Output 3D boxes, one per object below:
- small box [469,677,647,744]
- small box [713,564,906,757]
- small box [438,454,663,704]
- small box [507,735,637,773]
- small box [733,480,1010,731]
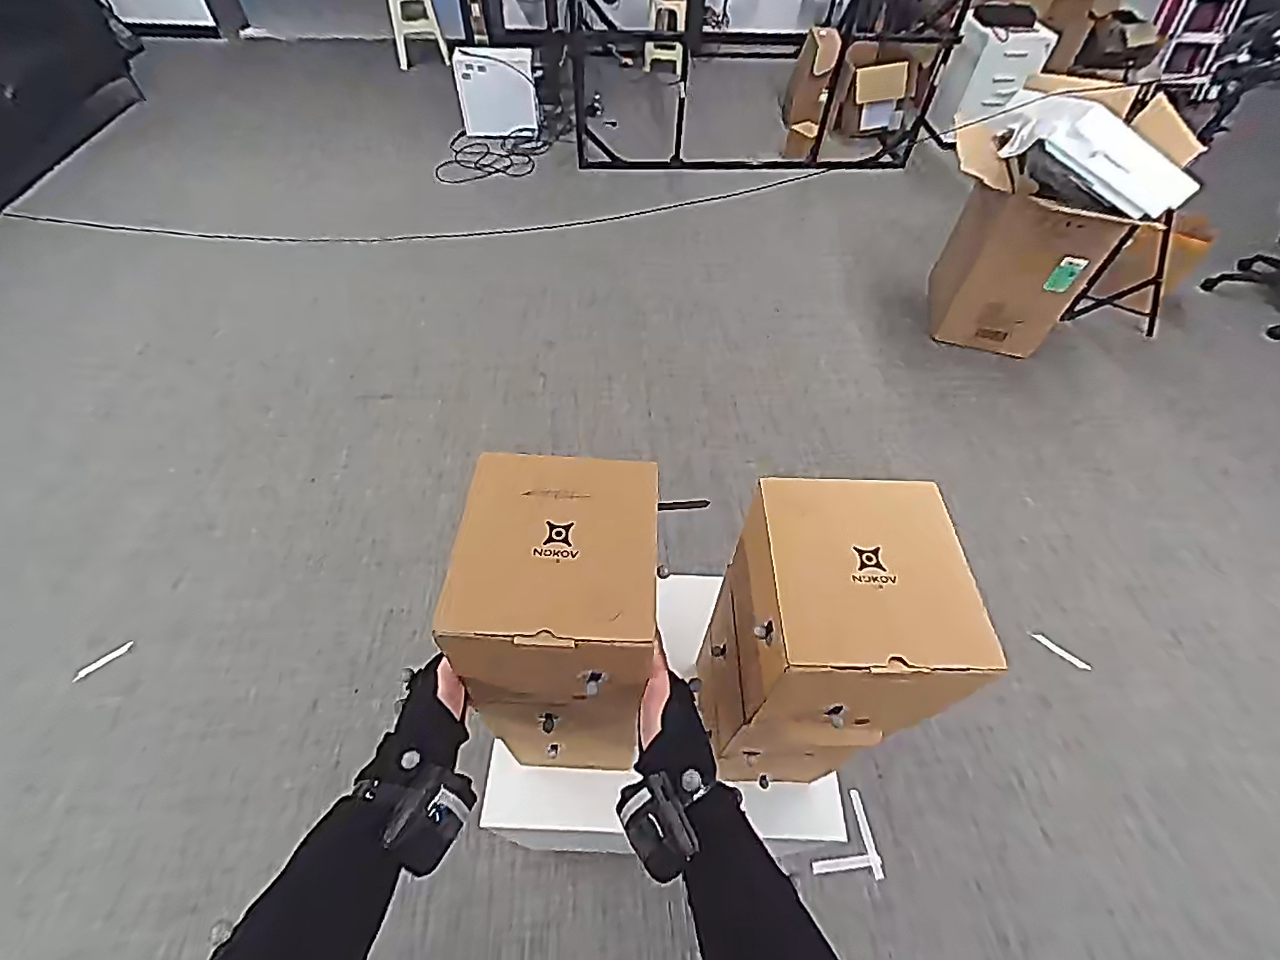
[{"bbox_3d":[-0.079,0.202,0.635,0.179,0.176,0.168,4,54,-1],"label":"small box"},{"bbox_3d":[0.181,0.217,0.637,0.168,0.176,0.179,2,52,-1],"label":"small box"},{"bbox_3d":[-0.068,0.099,0.509,0.168,0.176,0.179,4,52,-2],"label":"small box"},{"bbox_3d":[-0.085,0.299,0.770,0.168,0.176,0.179,4,52,0],"label":"small box"},{"bbox_3d":[0.187,0.120,0.506,0.168,0.176,0.179,2,53,-1],"label":"small box"}]
